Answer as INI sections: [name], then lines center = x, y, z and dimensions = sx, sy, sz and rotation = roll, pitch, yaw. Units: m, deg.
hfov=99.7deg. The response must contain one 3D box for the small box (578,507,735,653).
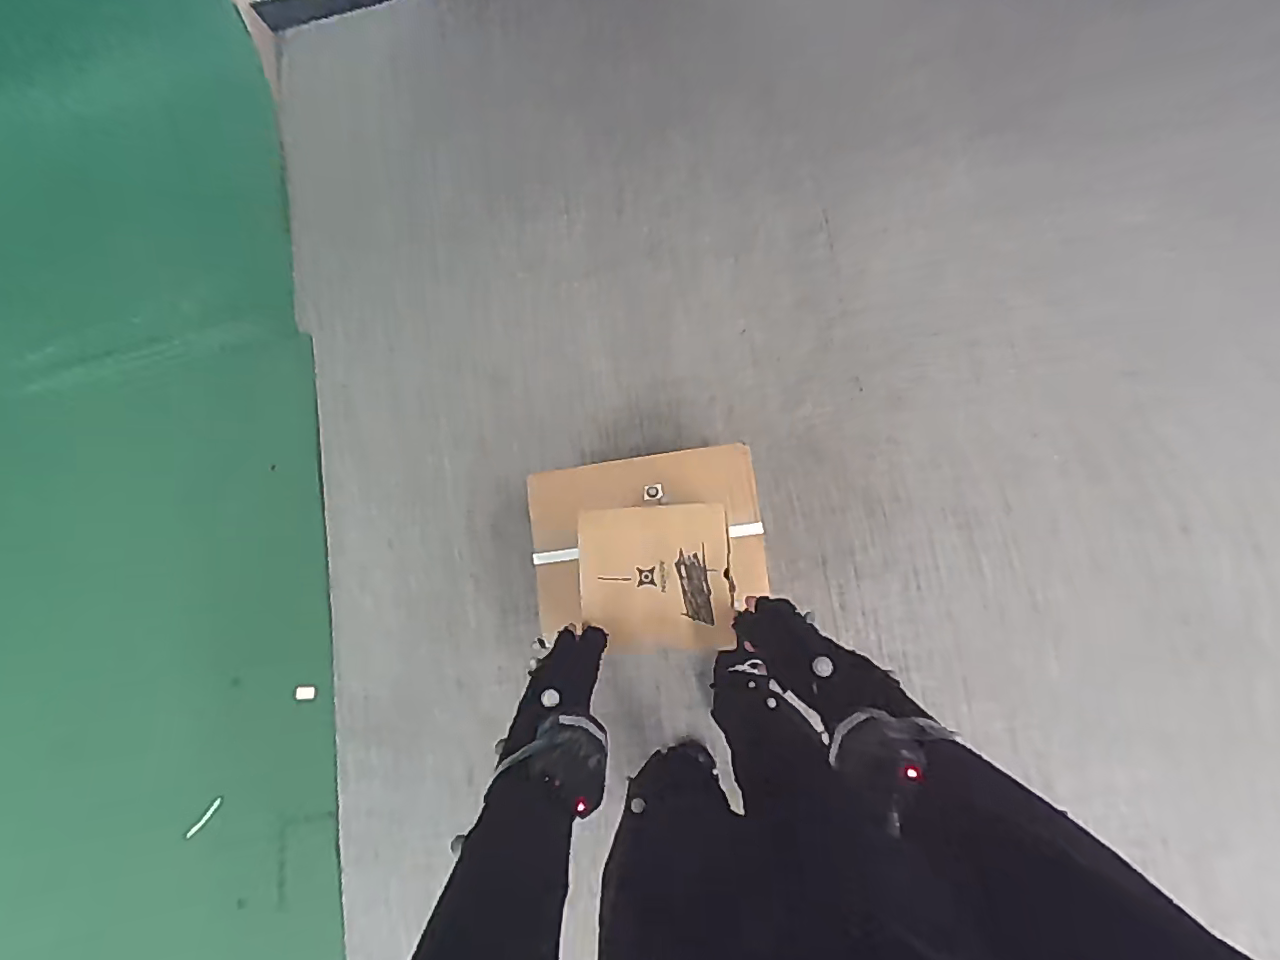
[small box]
center = 0.026, 0.119, 0.696
dimensions = 0.179, 0.176, 0.168
rotation = -4, 85, 8
